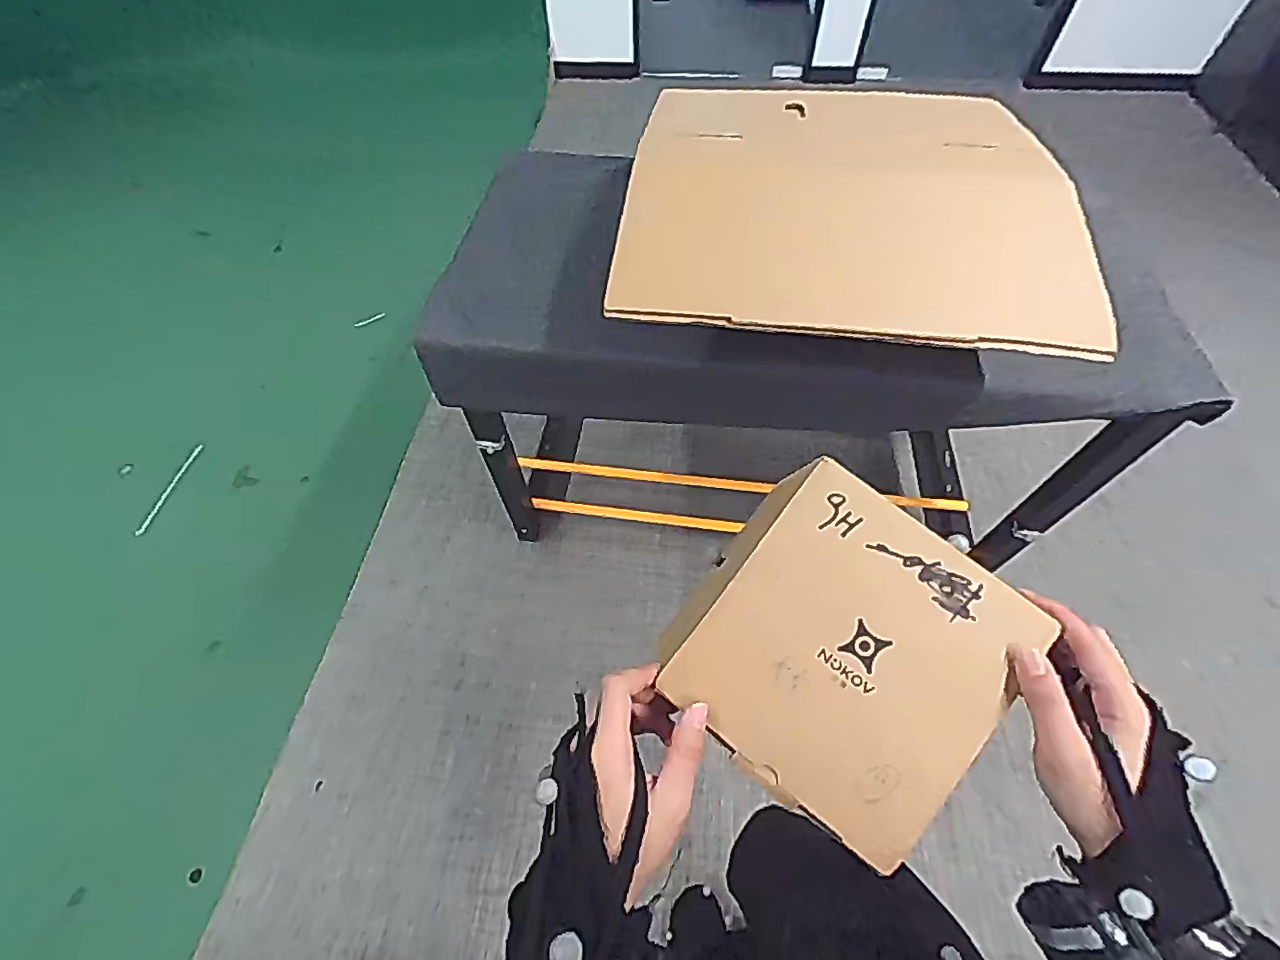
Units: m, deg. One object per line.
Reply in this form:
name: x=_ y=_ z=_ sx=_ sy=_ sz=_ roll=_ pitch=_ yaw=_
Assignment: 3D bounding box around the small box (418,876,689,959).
small box: x=-0.051 y=0.350 z=0.262 sx=0.176 sy=0.179 sz=0.168 roll=-8 pitch=95 yaw=27
